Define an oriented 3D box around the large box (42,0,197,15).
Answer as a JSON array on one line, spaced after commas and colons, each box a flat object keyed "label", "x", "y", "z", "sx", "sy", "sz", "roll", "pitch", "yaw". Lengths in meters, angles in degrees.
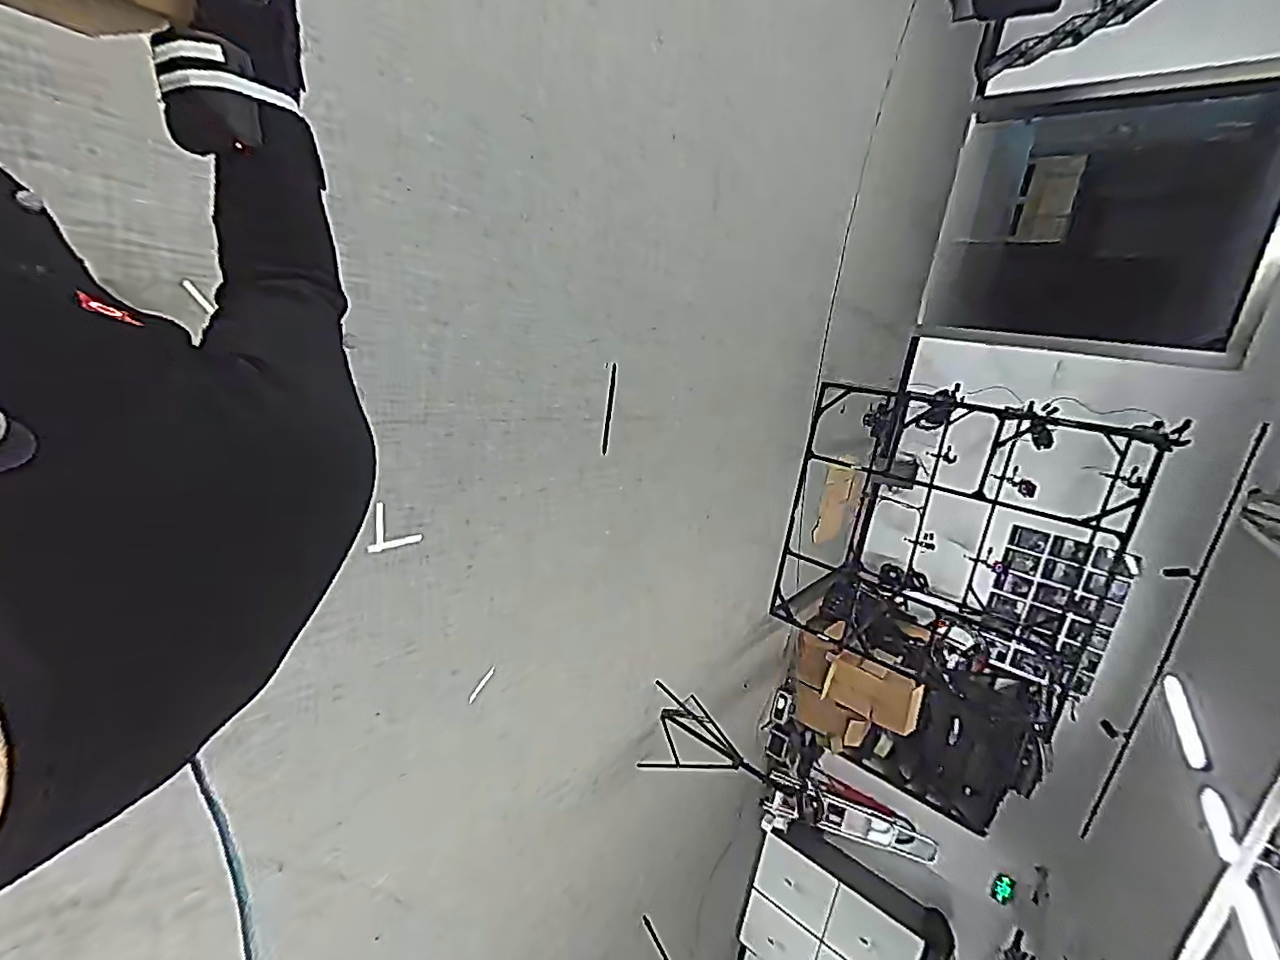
[{"label": "large box", "x": -0.505, "y": -0.503, "z": 0.248, "sx": 0.408, "sy": 0.320, "sz": 0.320, "roll": -12, "pitch": 125, "yaw": -53}]
